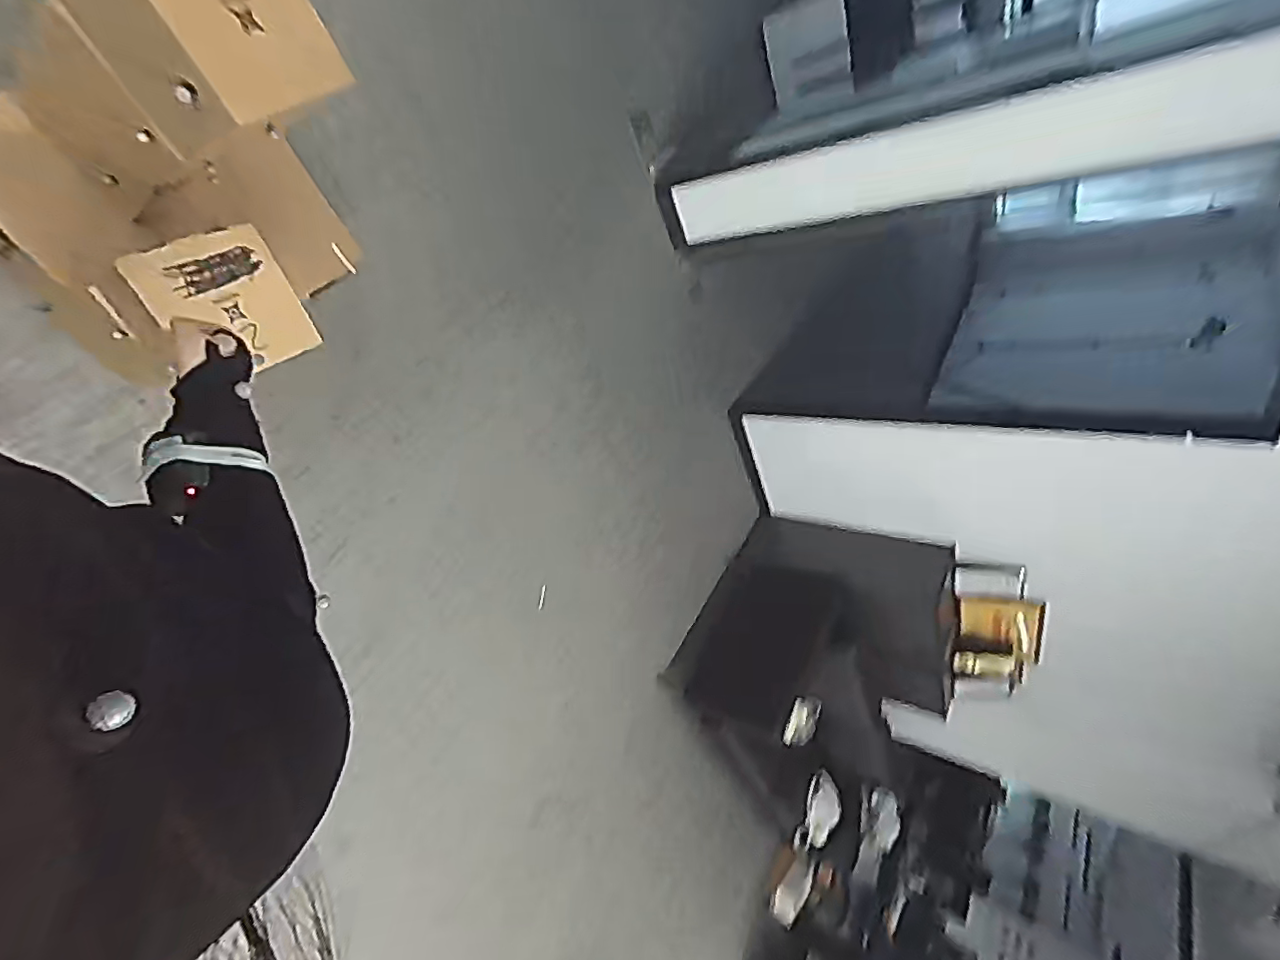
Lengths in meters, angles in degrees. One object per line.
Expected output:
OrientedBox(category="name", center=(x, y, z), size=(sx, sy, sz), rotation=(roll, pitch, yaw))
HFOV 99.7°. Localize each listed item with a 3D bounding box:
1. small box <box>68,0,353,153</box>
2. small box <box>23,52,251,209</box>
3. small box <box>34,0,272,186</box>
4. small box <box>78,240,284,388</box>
OrientedBox(category="small box", center=(-0.484, -0.502, 0.620), size=(0.168, 0.176, 0.179), rotation=(-55, 135, -34))
OrientedBox(category="small box", center=(-0.748, -0.531, 0.811), size=(0.168, 0.176, 0.179), rotation=(-56, 135, -32))
OrientedBox(category="small box", center=(-0.621, -0.522, 0.711), size=(0.168, 0.176, 0.179), rotation=(-56, 137, -33))
OrientedBox(category="small box", center=(-0.736, -0.265, 0.871), size=(0.179, 0.176, 0.168), rotation=(-50, 133, -35))
